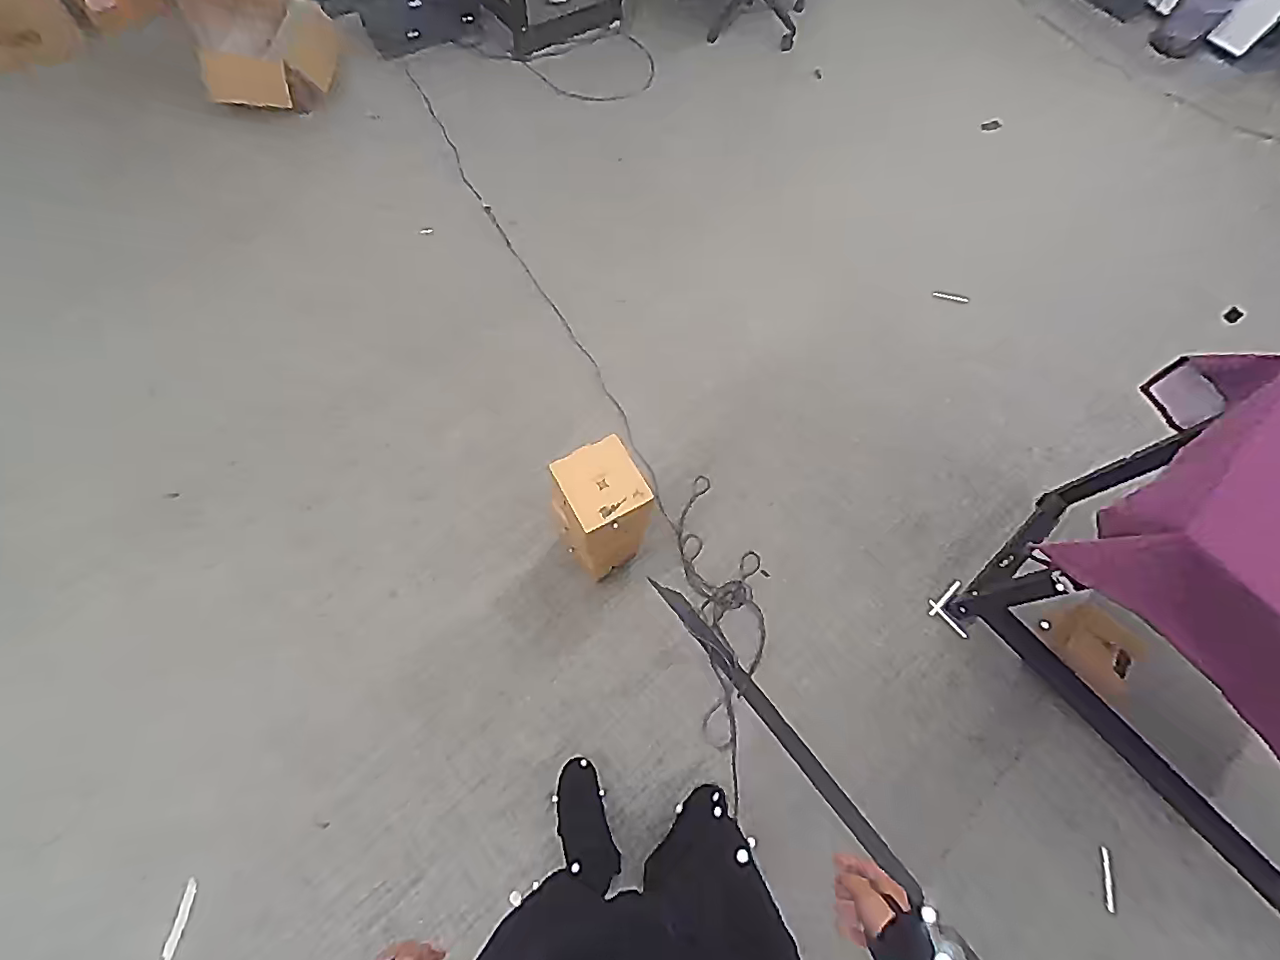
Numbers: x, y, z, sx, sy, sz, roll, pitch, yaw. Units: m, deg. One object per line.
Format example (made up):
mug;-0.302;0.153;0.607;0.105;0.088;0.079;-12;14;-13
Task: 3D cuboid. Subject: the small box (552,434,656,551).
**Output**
small box;-0.085;0.033;1.209;0.168;0.176;0.179;-26;71;-15

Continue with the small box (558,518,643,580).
small box;-0.112;0.154;1.510;0.168;0.176;0.179;-35;75;-17

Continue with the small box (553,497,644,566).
small box;-0.097;0.093;1.361;0.179;0.176;0.168;-34;74;-17
